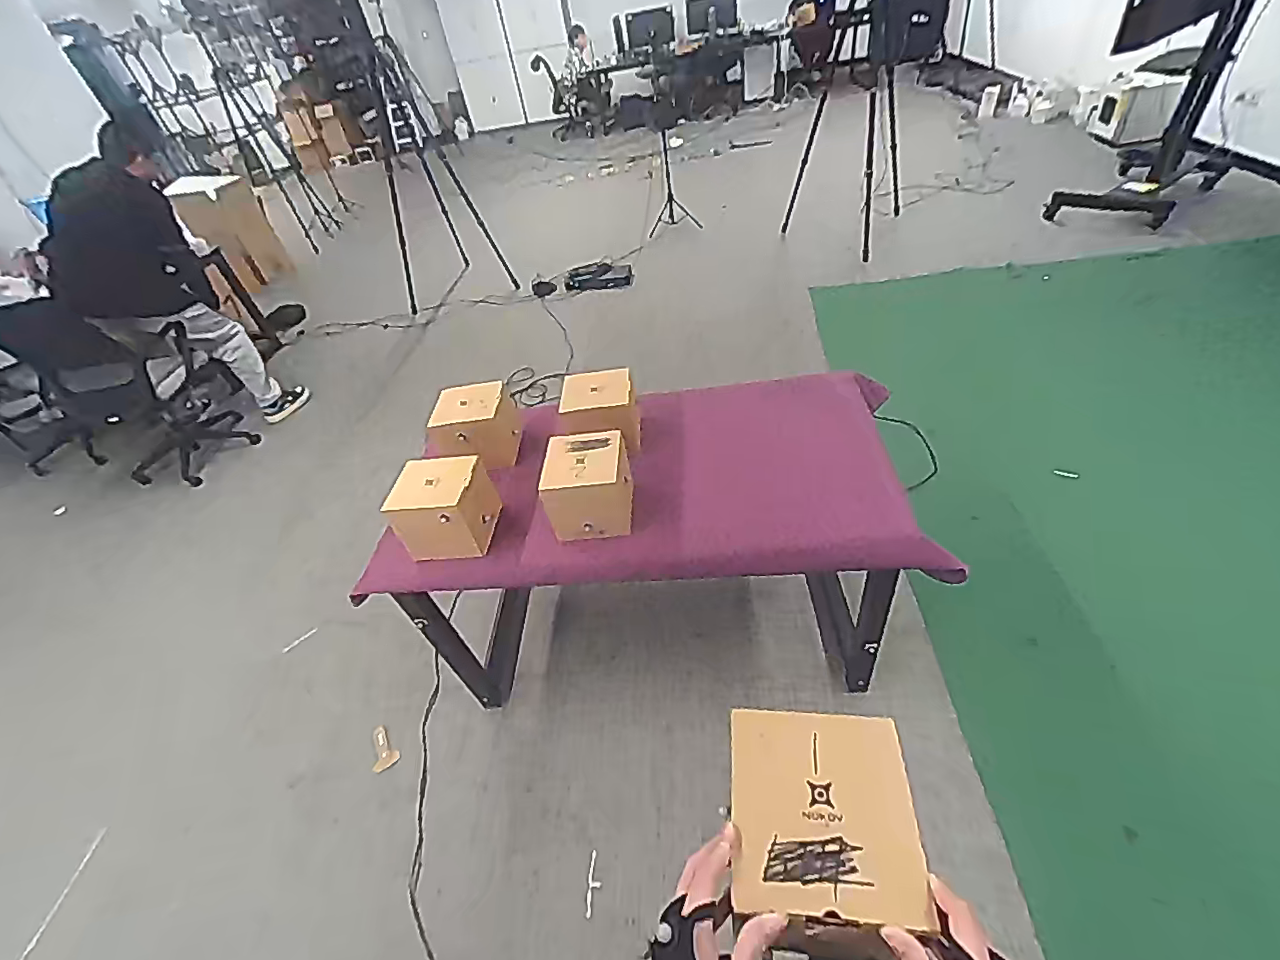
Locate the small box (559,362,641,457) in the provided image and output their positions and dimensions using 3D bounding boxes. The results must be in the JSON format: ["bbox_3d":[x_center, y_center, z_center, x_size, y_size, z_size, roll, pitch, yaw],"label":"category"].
[{"bbox_3d":[-0.095,-0.178,1.389,0.179,0.176,0.168,-7,43,8],"label":"small box"}]

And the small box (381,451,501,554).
[{"bbox_3d":[-0.441,0.055,1.226,0.179,0.176,0.168,-4,42,8],"label":"small box"}]

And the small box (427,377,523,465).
[{"bbox_3d":[-0.429,-0.148,1.433,0.179,0.176,0.168,-7,44,6],"label":"small box"}]

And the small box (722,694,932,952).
[{"bbox_3d":[0.172,0.344,0.547,0.168,0.176,0.179,0,41,11],"label":"small box"}]
